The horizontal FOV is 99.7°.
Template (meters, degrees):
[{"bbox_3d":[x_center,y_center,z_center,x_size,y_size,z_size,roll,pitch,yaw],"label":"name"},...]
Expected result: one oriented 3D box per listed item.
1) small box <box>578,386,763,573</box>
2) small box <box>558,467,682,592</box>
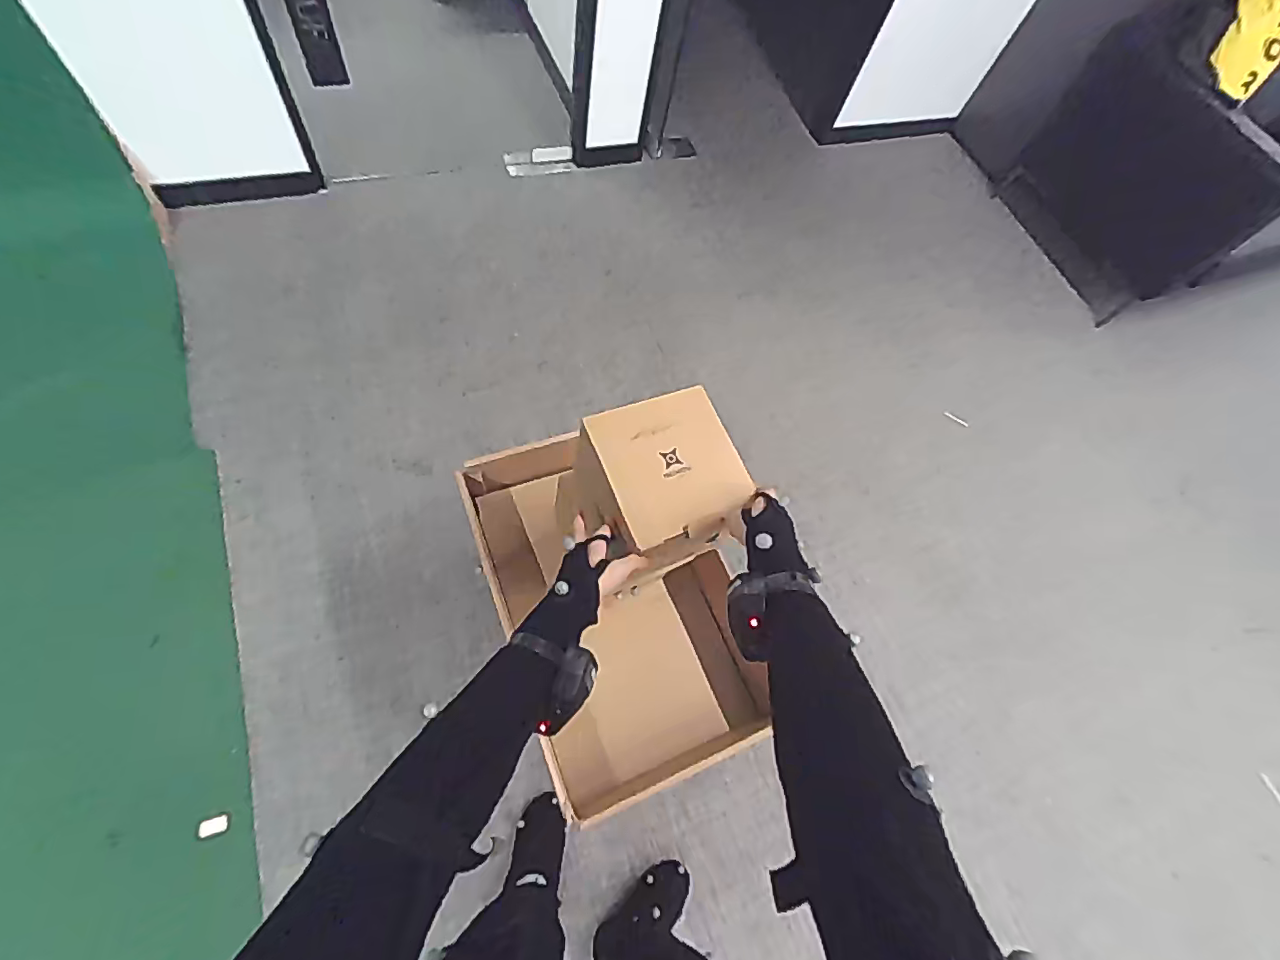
[{"bbox_3d":[0.027,0.010,0.706,0.168,0.176,0.179,-18,71,-18],"label":"small box"},{"bbox_3d":[-0.021,0.065,0.856,0.168,0.176,0.179,-22,74,-19],"label":"small box"}]
